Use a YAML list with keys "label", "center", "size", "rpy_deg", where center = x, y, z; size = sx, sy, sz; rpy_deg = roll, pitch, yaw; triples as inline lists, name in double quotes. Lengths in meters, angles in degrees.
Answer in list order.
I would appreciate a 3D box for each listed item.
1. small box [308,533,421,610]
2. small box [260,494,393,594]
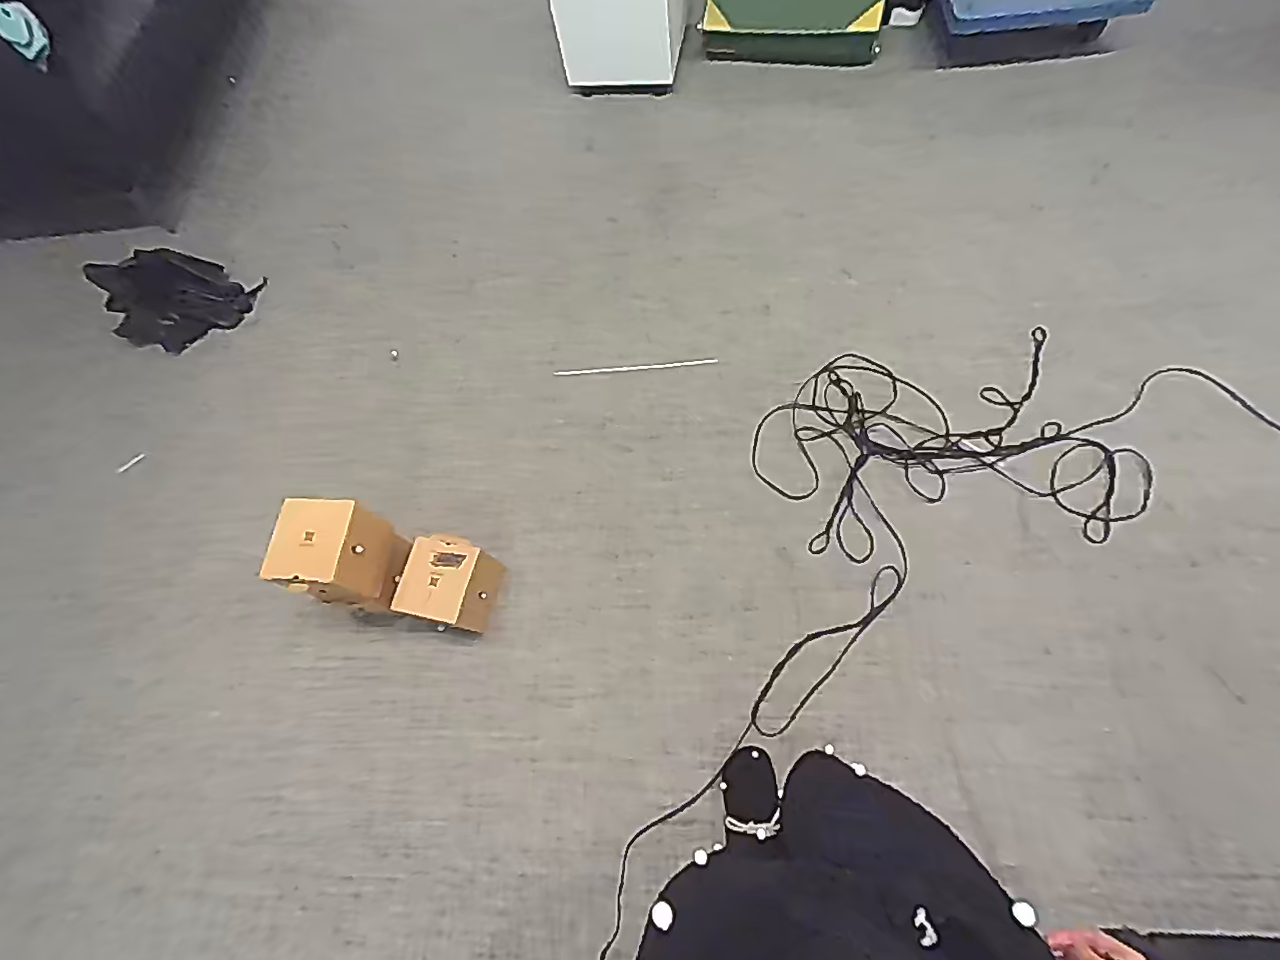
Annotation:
- label: "small box"
  center: [-0.664, 0.219, 1.326]
  size: [0.168, 0.176, 0.179]
  rpy_deg: [1, 68, 8]
- label: "small box"
  center: [-0.670, 0.143, 1.181]
  size: [0.168, 0.176, 0.179]
  rpy_deg: [1, 68, 7]
